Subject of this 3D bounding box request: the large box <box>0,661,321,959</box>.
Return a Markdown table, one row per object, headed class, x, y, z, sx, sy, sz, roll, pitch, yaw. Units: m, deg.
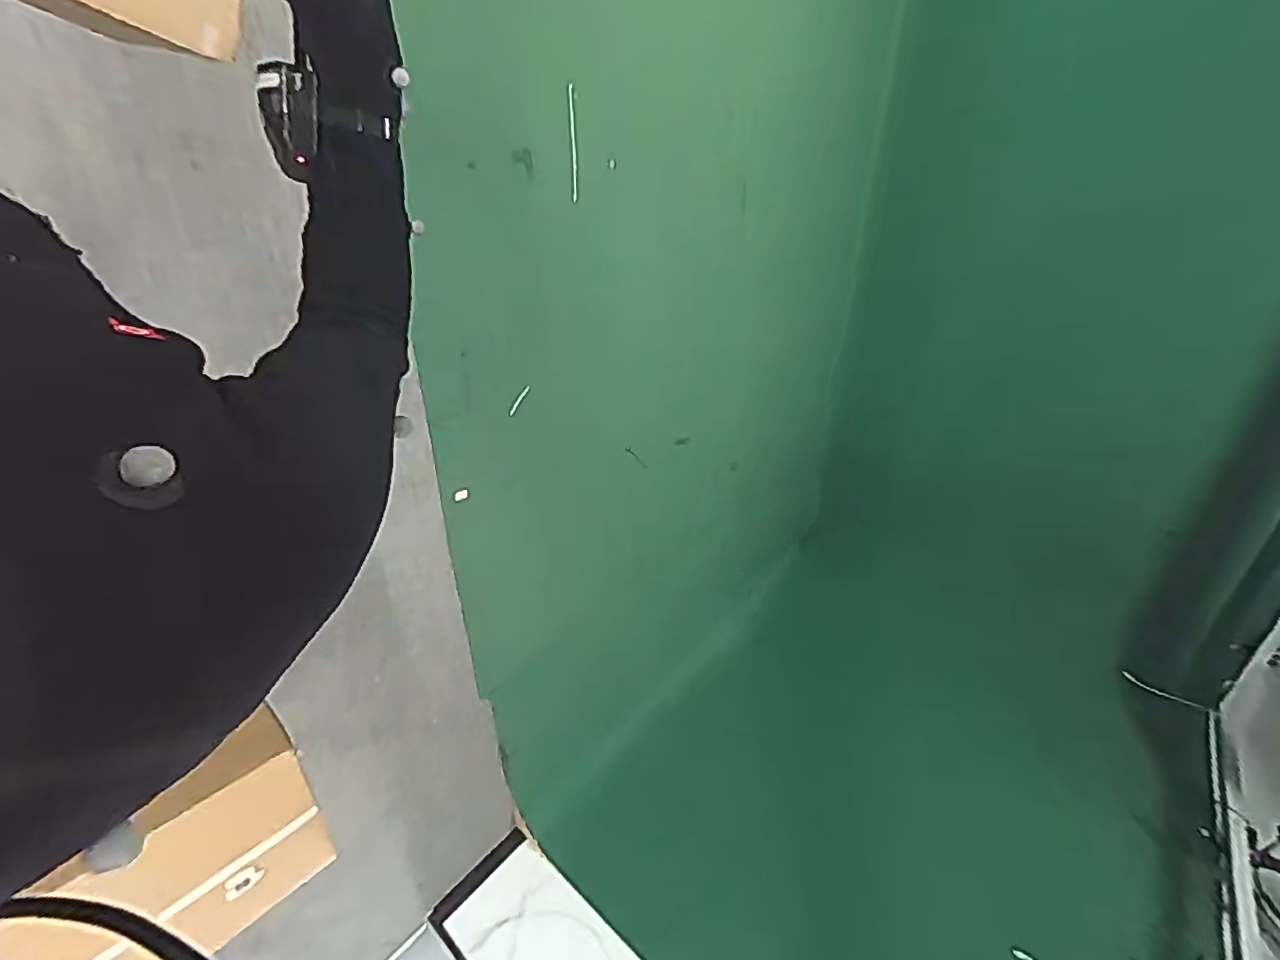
| class | x | y | z | sx | sy | sz | roll | pitch | yaw |
| --- | --- | --- | --- | --- | --- | --- | --- | --- | --- |
| large box | -0.868 | 0.606 | 0.949 | 0.408 | 0.320 | 0.320 | -27 | 126 | -44 |
